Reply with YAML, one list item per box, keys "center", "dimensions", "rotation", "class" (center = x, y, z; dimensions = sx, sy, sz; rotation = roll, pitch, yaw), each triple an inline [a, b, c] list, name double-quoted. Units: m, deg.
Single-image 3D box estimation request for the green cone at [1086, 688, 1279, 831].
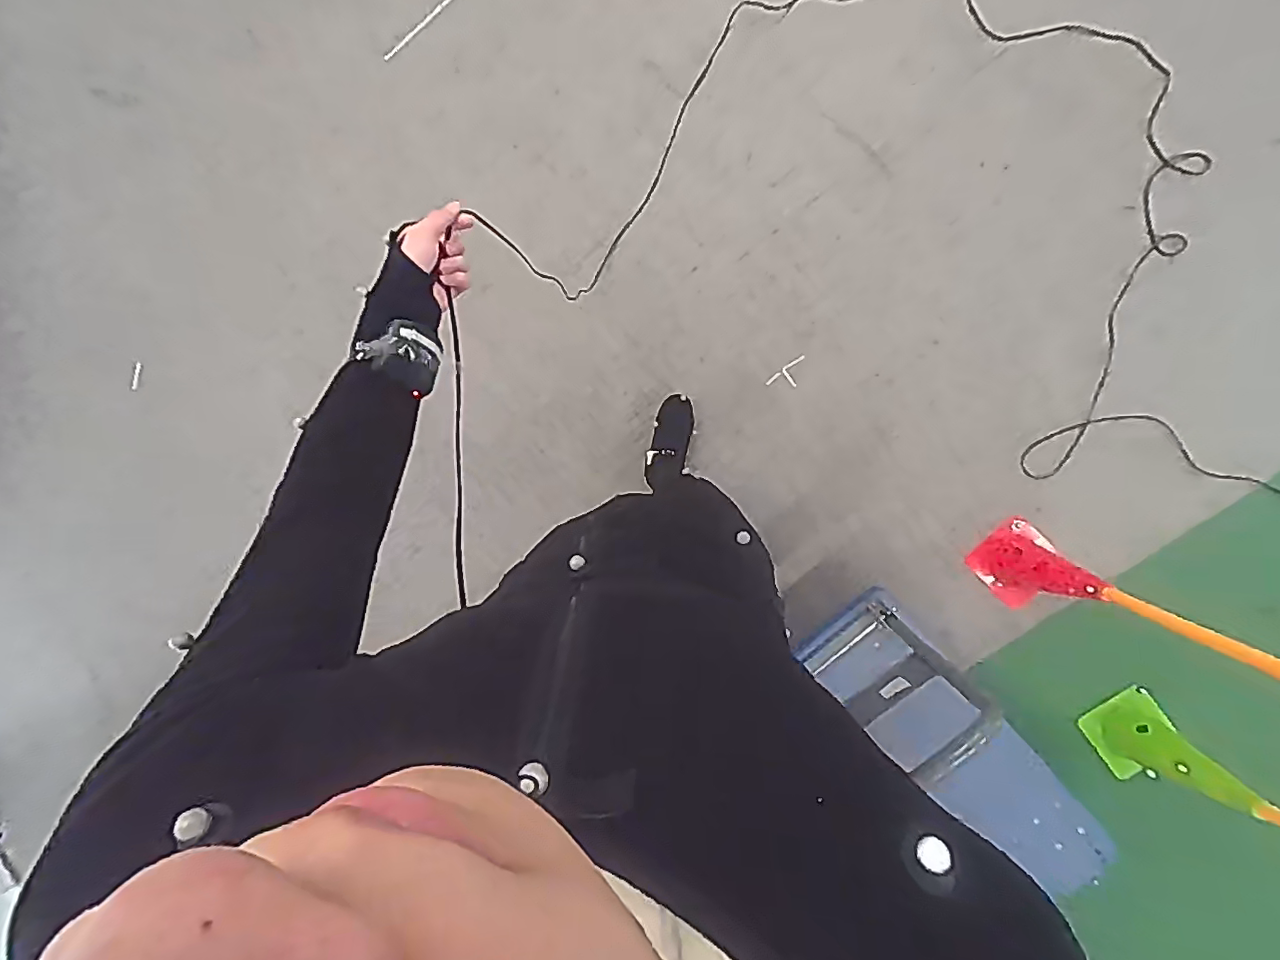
- center: [1.318, 0.690, 1.282]
  dimensions: [0.200, 0.368, 0.202]
  rotation: [-37, 88, 6]
  class: "green cone"
